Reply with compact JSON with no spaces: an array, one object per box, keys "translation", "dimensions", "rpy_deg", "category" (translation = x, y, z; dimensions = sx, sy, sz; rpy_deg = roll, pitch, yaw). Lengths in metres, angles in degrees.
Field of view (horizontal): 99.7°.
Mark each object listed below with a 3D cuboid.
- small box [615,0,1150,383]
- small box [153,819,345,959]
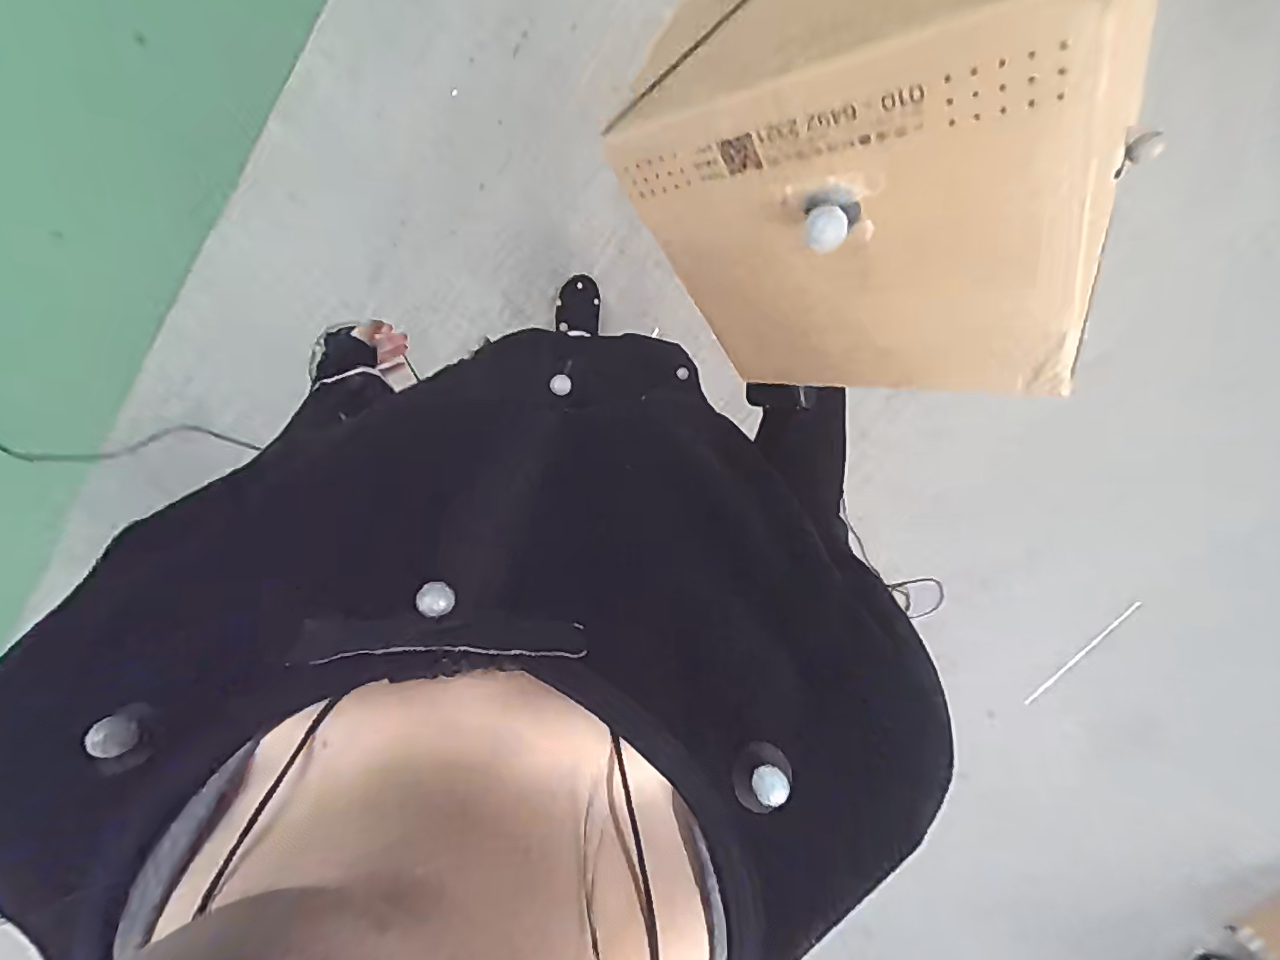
[{"translation":[0.120,-0.168,0.251],"dimensions":[0.176,0.168,0.179],"rpy_deg":[43,67,-46],"category":"small box"},{"translation":[-0.638,0.715,0.900],"dimensions":[0.179,0.176,0.168],"rpy_deg":[38,103,-13],"category":"small box"}]
